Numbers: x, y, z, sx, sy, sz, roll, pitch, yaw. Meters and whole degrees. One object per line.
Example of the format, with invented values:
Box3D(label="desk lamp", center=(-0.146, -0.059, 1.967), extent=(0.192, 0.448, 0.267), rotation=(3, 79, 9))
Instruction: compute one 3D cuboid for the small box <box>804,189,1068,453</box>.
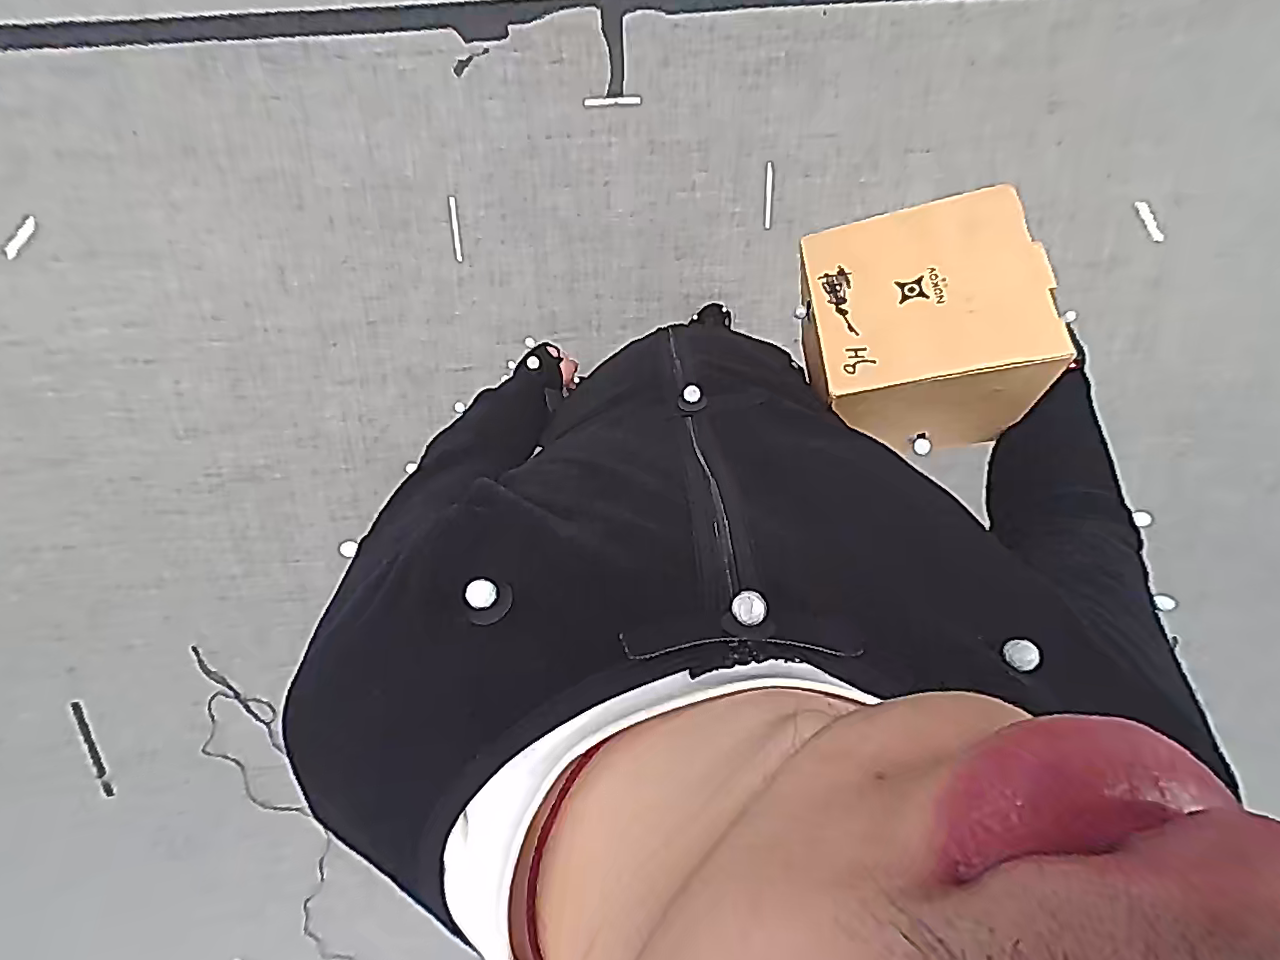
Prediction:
Box3D(label="small box", center=(0.262, -0.139, 0.531), extent=(0.179, 0.176, 0.168), rotation=(-8, 69, 14))
